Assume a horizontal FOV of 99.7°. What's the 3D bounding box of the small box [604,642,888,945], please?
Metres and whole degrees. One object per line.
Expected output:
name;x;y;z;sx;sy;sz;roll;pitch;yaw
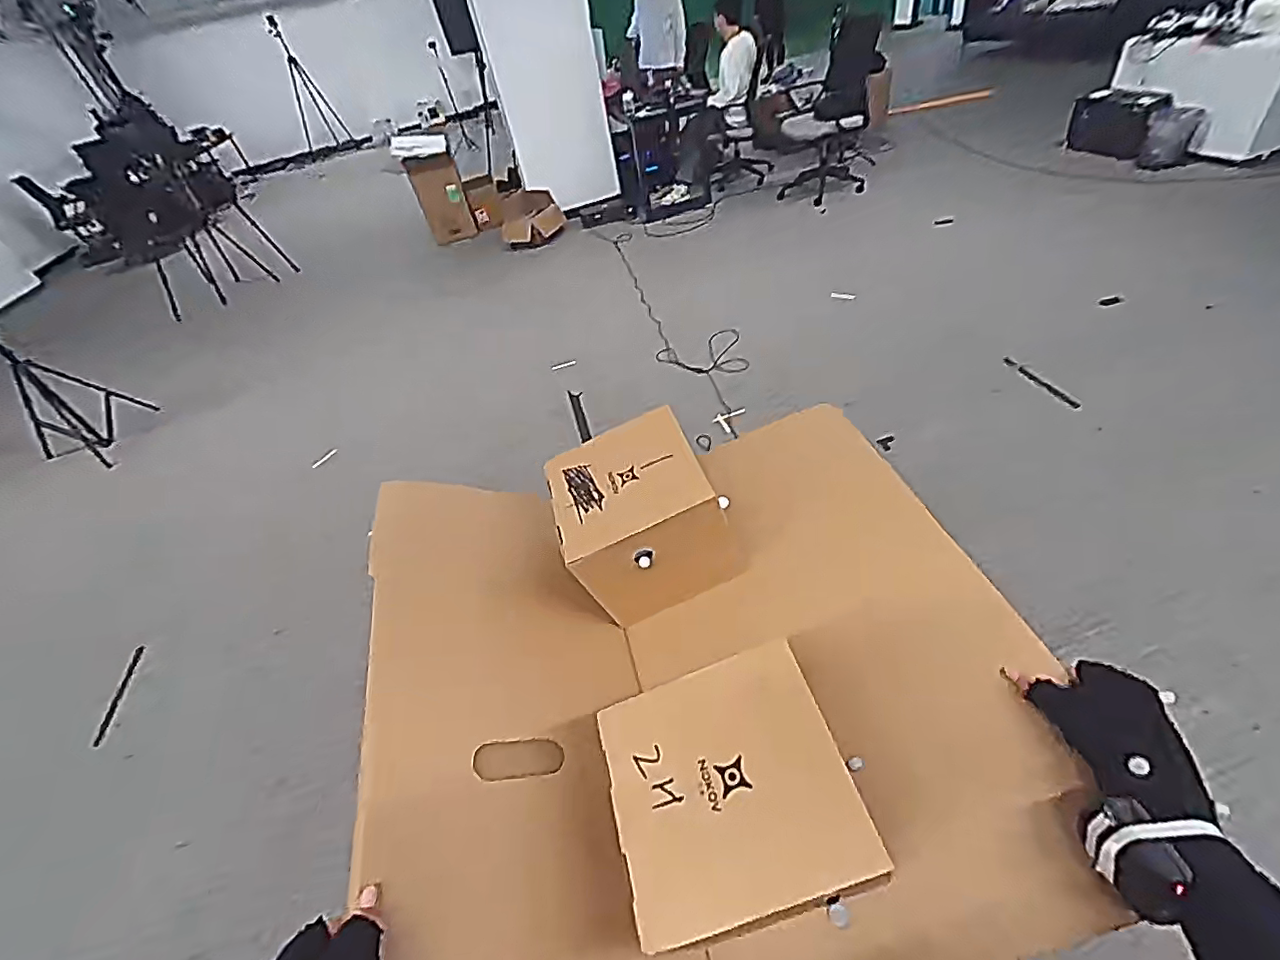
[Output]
small box;0.091;0.273;0.471;0.179;0.176;0.168;-24;47;6

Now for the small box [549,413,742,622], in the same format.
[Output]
small box;0.008;0.054;0.689;0.179;0.176;0.168;-25;47;4
